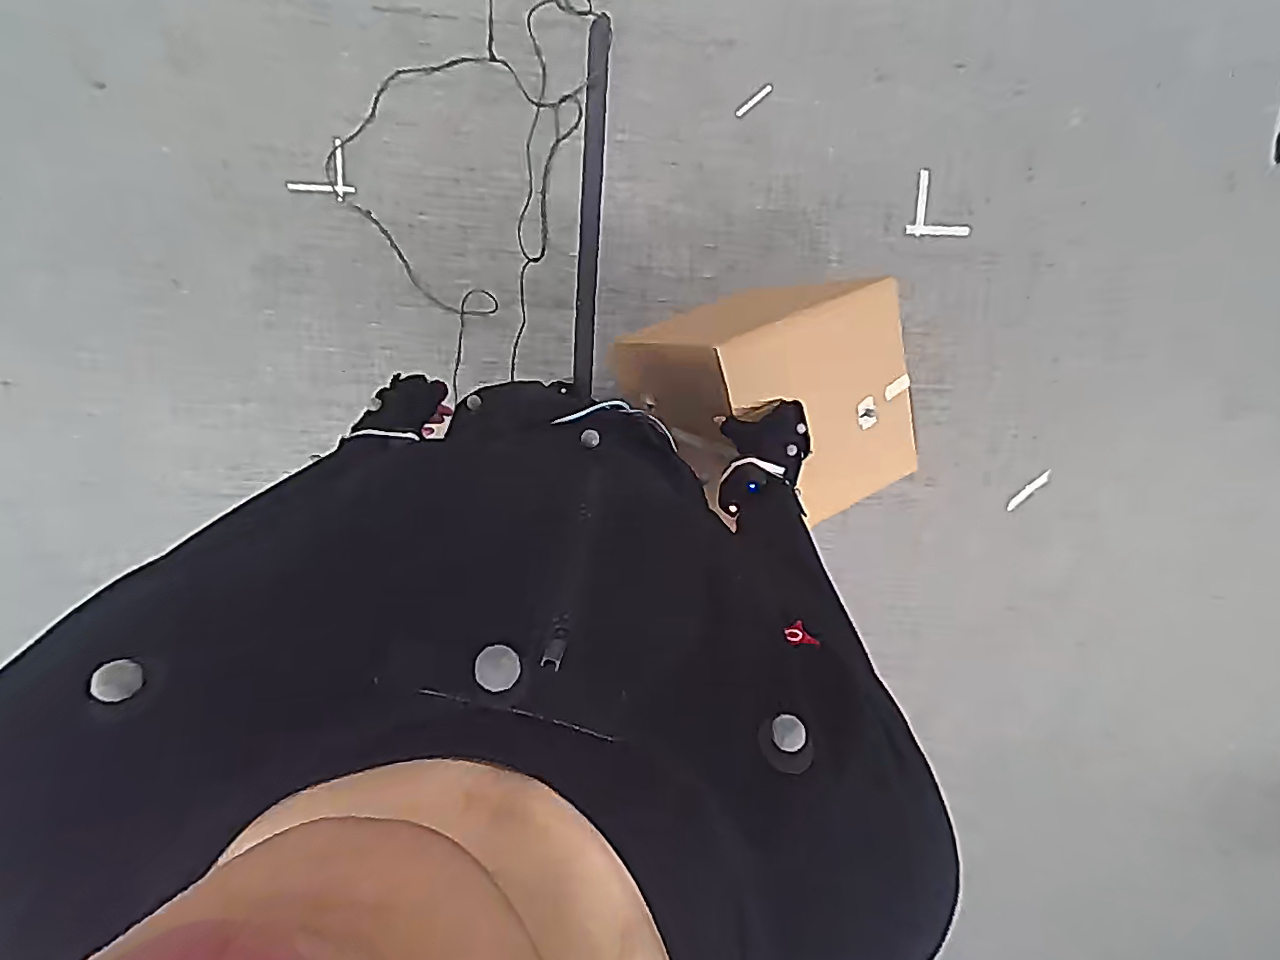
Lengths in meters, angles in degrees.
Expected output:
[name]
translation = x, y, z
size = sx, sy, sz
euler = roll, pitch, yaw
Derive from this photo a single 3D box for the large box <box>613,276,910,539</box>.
[large box]
translation = 0.198, -0.146, 0.975
size = 0.320, 0.408, 0.320
euler = -25, 111, -15
